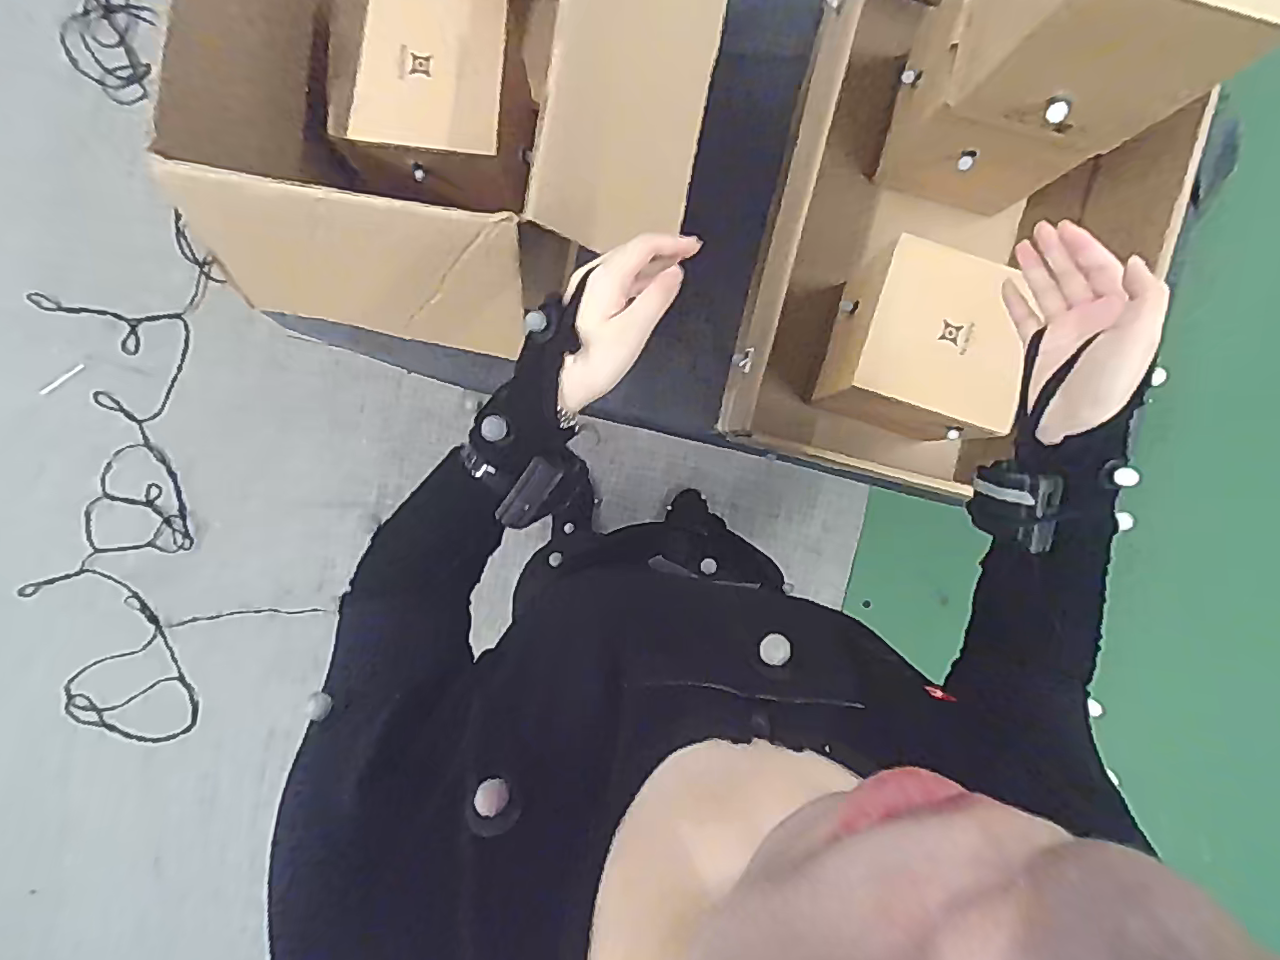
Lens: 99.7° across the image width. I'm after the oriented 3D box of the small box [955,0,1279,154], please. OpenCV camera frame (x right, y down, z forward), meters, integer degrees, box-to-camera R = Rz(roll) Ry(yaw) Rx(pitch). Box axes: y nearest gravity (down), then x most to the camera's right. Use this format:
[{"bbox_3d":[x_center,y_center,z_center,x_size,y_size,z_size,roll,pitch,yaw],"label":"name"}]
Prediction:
[{"bbox_3d":[0.407,-0.422,0.457,0.168,0.176,0.179,14,95,-2],"label":"small box"}]
